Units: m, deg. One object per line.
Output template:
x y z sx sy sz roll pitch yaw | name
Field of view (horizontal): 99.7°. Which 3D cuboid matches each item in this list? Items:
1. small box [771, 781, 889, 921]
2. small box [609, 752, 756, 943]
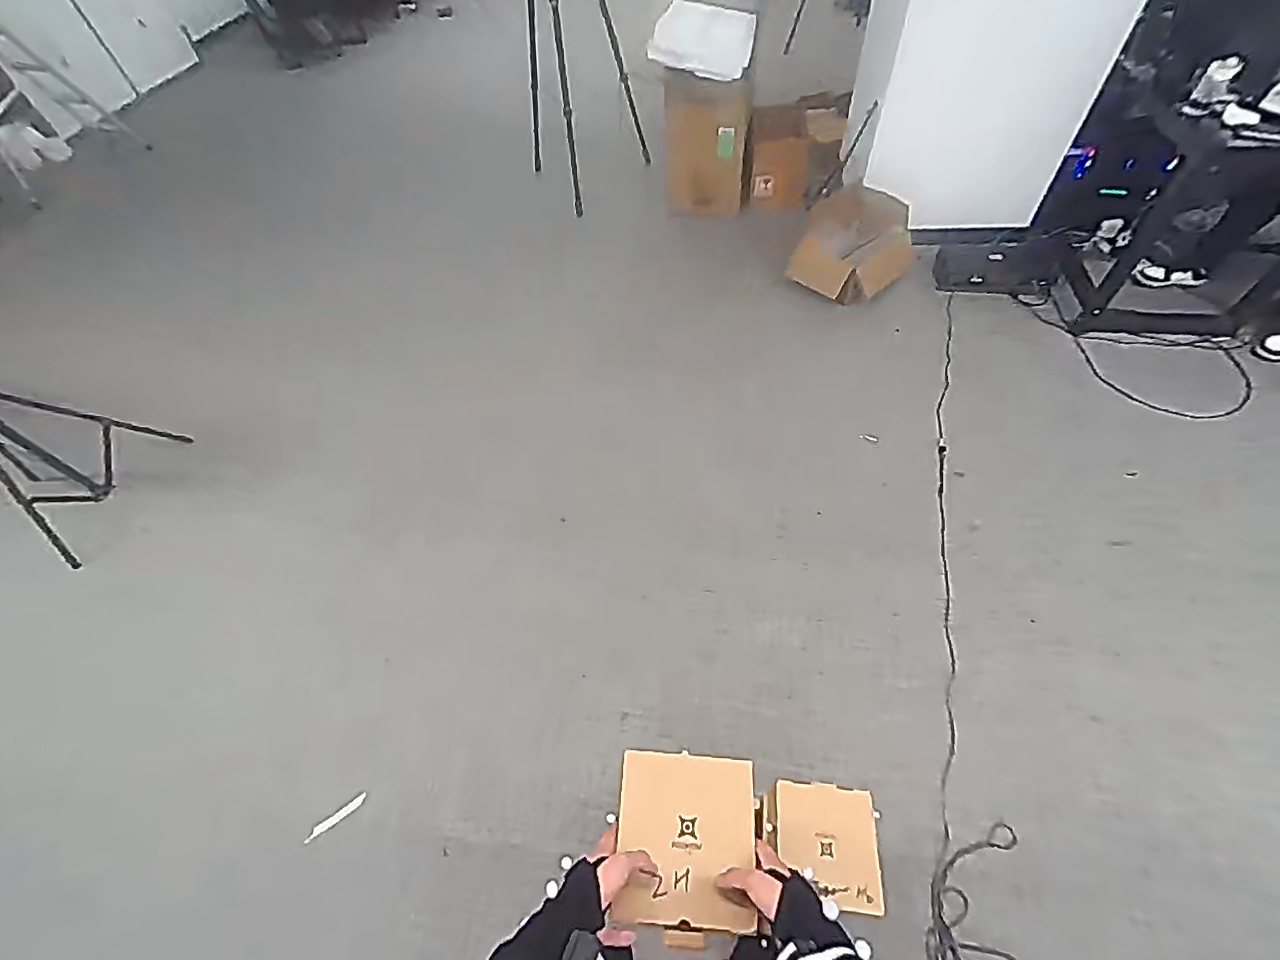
0.324 0.655 0.959 0.168 0.176 0.179 2 54 10 | small box
0.049 0.466 0.701 0.168 0.176 0.179 5 58 1 | small box
